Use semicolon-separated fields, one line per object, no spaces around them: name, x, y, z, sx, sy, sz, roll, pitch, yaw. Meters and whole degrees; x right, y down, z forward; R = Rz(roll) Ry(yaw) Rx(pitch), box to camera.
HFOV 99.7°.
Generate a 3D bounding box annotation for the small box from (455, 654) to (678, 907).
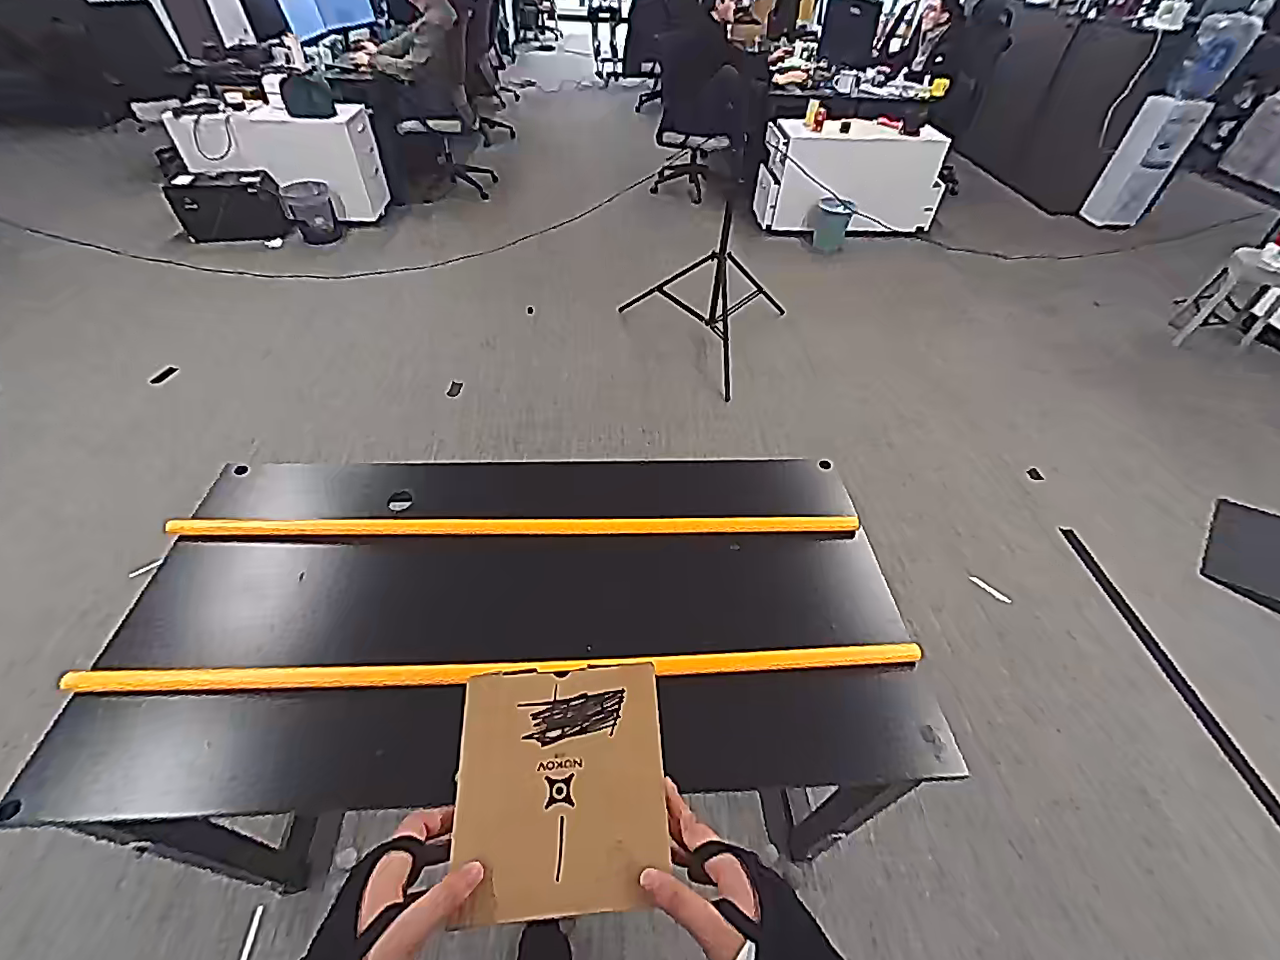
small box;-0.060;0.280;0.506;0.168;0.176;0.179;-3;55;-3
